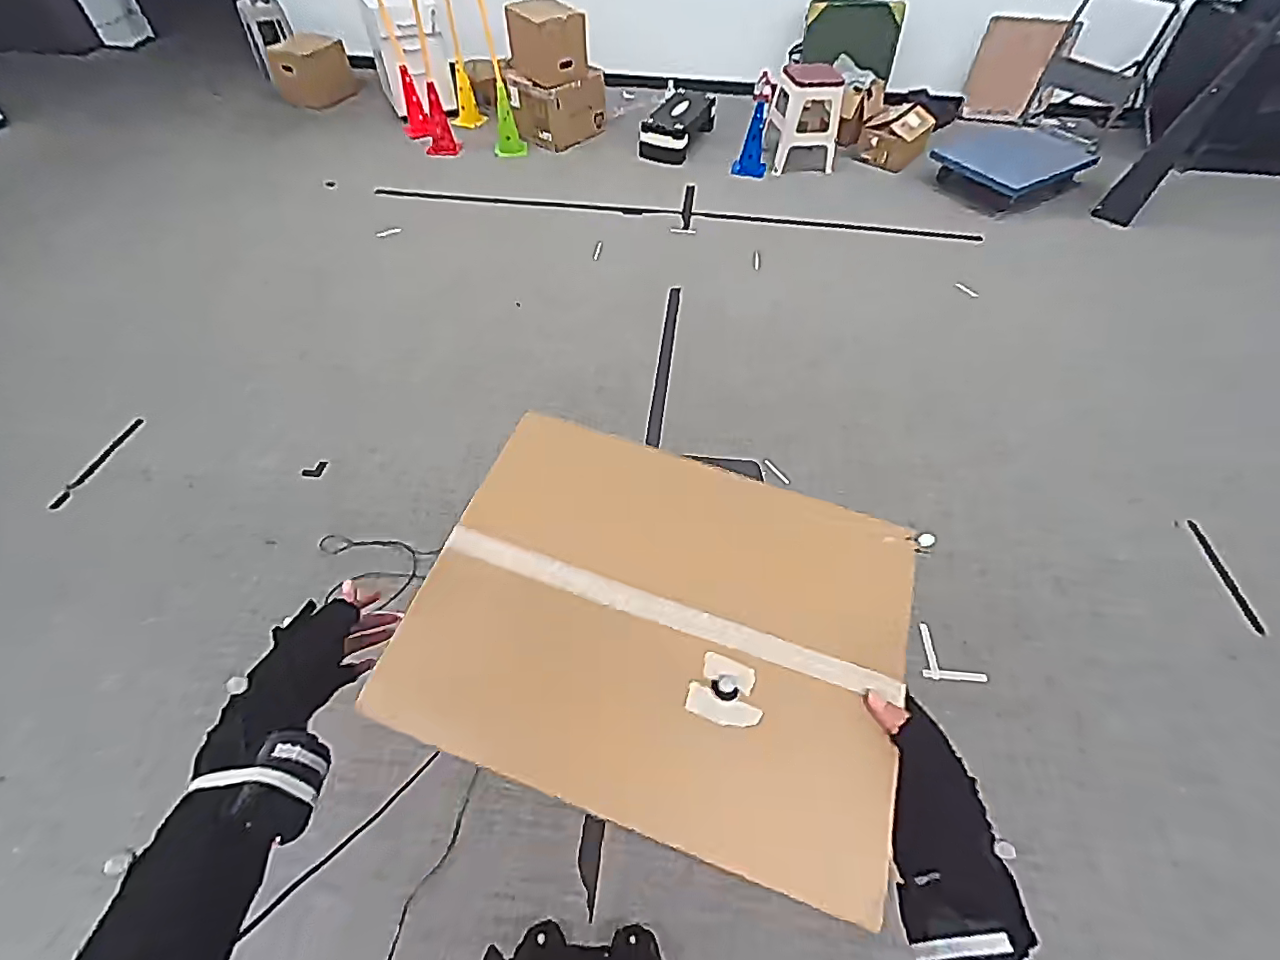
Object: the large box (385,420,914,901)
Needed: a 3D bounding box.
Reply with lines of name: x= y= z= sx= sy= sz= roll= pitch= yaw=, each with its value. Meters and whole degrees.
large box: x=0.022 y=0.191 z=0.605 sx=0.408 sy=0.320 sz=0.320 roll=19 pitch=61 yaw=8
